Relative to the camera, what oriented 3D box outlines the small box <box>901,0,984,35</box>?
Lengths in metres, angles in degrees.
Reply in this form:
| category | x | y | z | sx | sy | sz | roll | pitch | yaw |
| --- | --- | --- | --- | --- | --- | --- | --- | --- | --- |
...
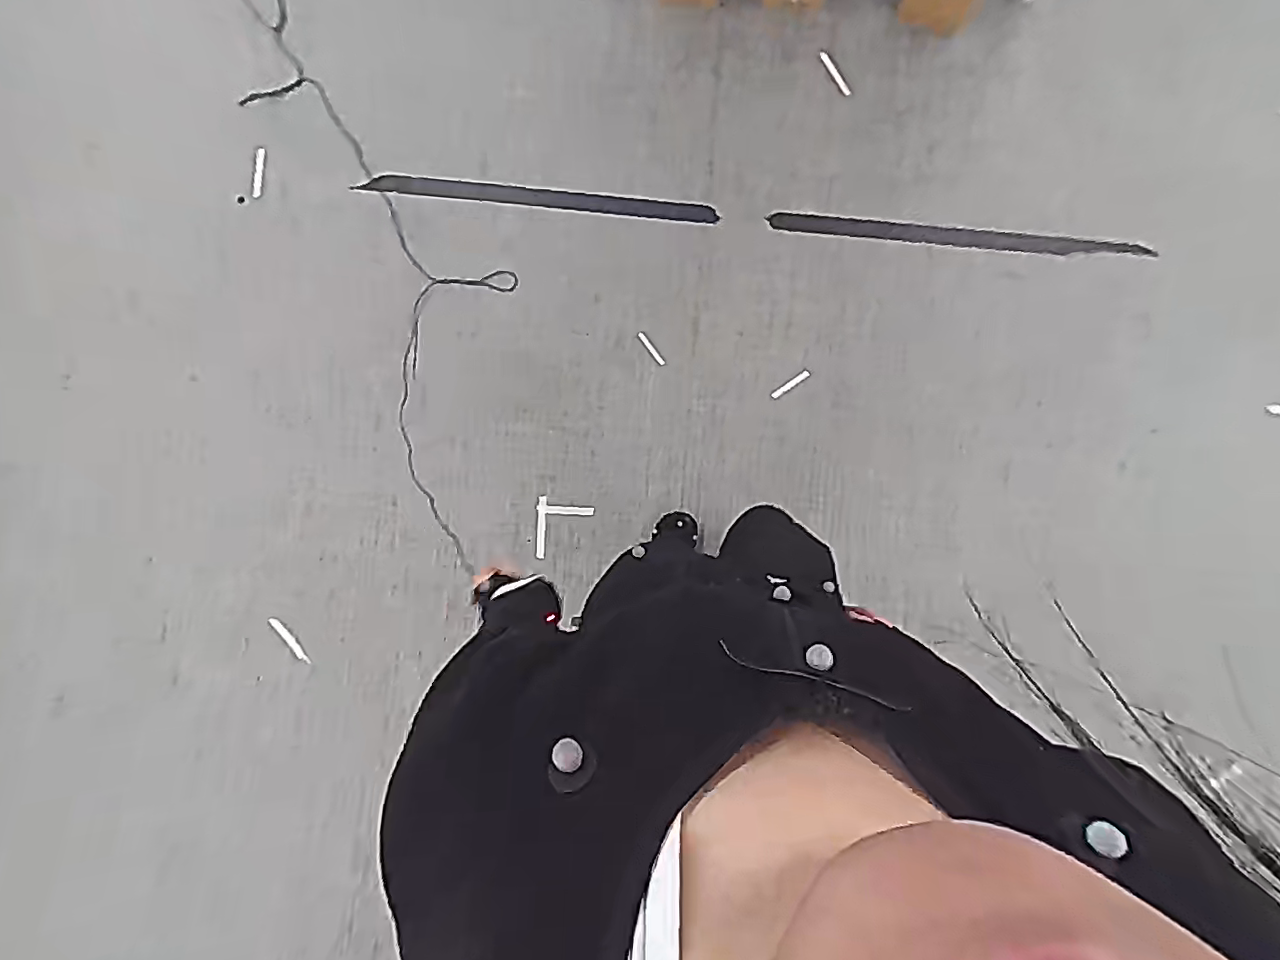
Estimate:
| category | x | y | z | sx | sy | sz | roll | pitch | yaw |
| --- | --- | --- | --- | --- | --- | --- | --- | --- | --- |
| small box | 0.813 | -1.304 | 1.389 | 0.179 | 0.176 | 0.168 | 22 | 92 | 3 |
